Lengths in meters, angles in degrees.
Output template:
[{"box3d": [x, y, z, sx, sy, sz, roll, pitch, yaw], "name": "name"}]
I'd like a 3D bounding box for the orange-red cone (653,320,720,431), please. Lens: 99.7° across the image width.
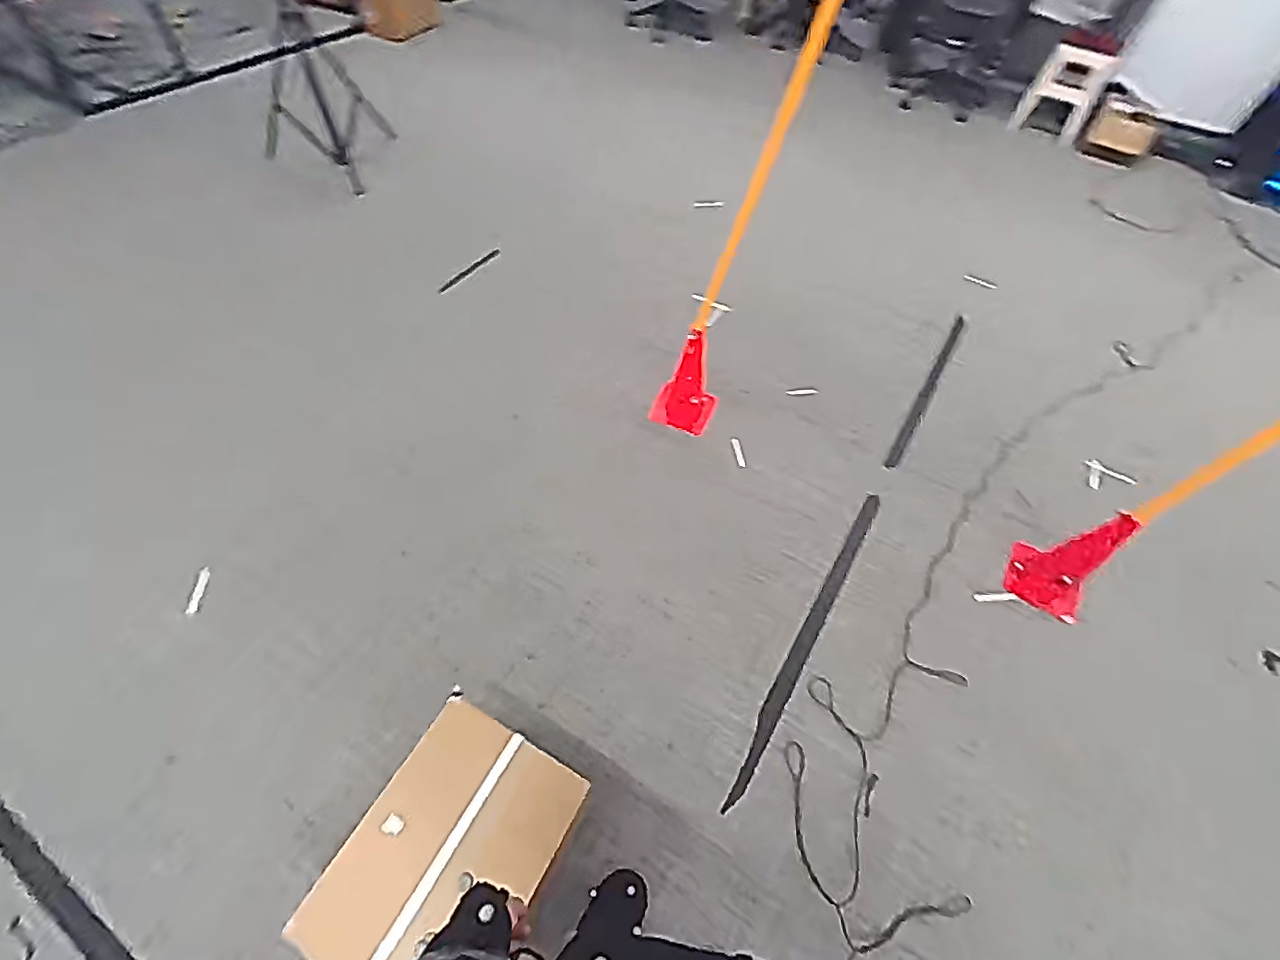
[{"box3d": [0.173, -0.361, 1.751, 0.199, 0.360, 0.198, 21, 56, 12], "name": "orange-red cone"}]
